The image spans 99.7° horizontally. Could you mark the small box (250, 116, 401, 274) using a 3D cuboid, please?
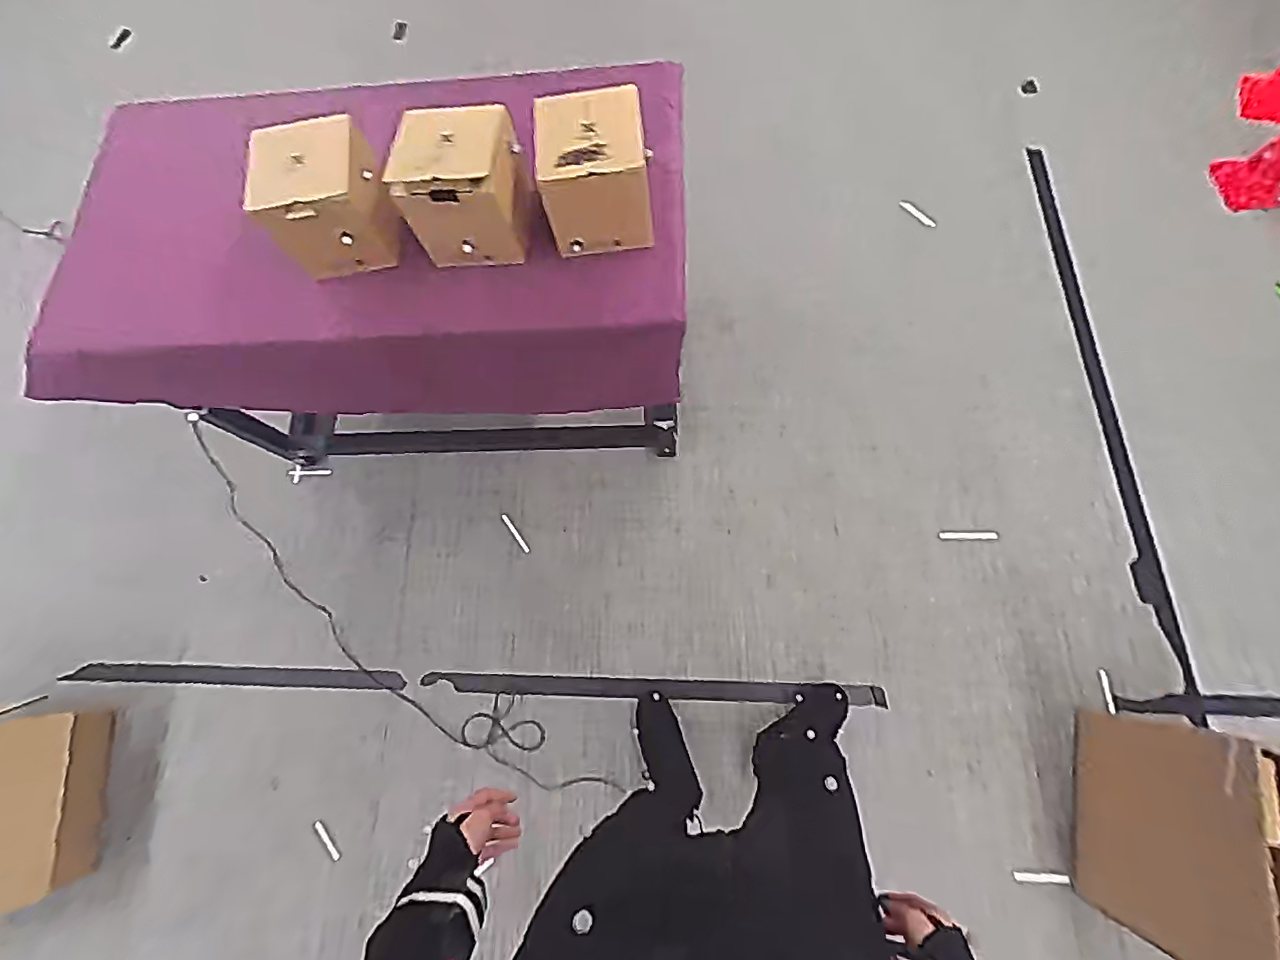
[{"bbox_3d":[-0.534,-0.482,0.942,0.168,0.176,0.179,-9,72,1],"label":"small box"}]

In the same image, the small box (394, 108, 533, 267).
[{"bbox_3d":[-0.288,-0.492,0.923,0.168,0.176,0.179,0,73,5],"label":"small box"}]

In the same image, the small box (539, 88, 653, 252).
[{"bbox_3d":[-0.068,-0.507,0.910,0.168,0.176,0.179,-5,71,3],"label":"small box"}]
